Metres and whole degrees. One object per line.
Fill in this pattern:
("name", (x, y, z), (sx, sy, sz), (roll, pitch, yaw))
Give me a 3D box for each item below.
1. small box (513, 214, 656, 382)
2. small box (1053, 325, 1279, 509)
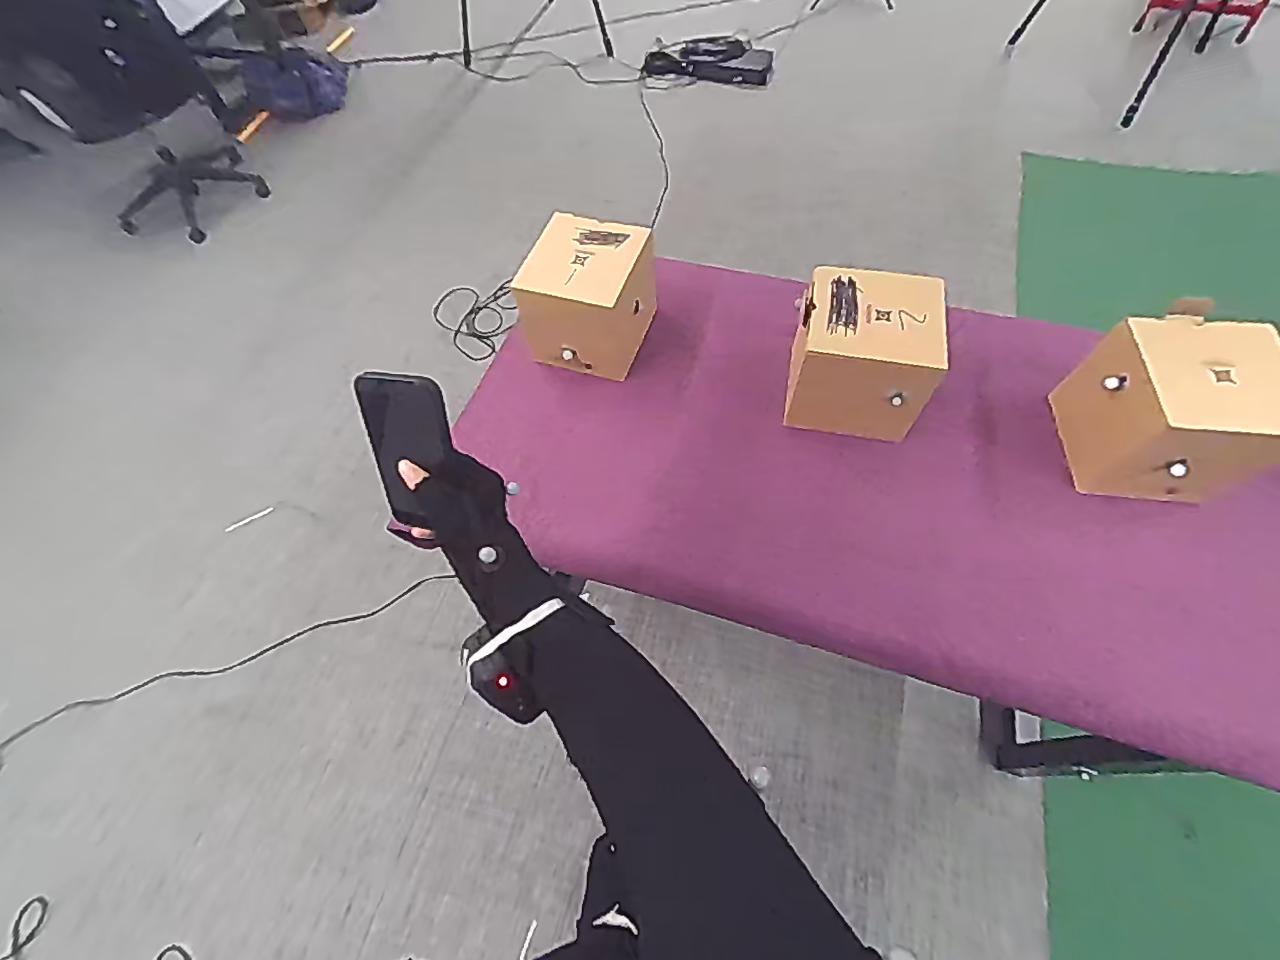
("small box", (-0.078, -0.290, 0.877), (0.168, 0.176, 0.179), (16, 64, 12))
("small box", (0.689, -0.077, 0.707), (0.168, 0.176, 0.179), (5, 60, 8))
